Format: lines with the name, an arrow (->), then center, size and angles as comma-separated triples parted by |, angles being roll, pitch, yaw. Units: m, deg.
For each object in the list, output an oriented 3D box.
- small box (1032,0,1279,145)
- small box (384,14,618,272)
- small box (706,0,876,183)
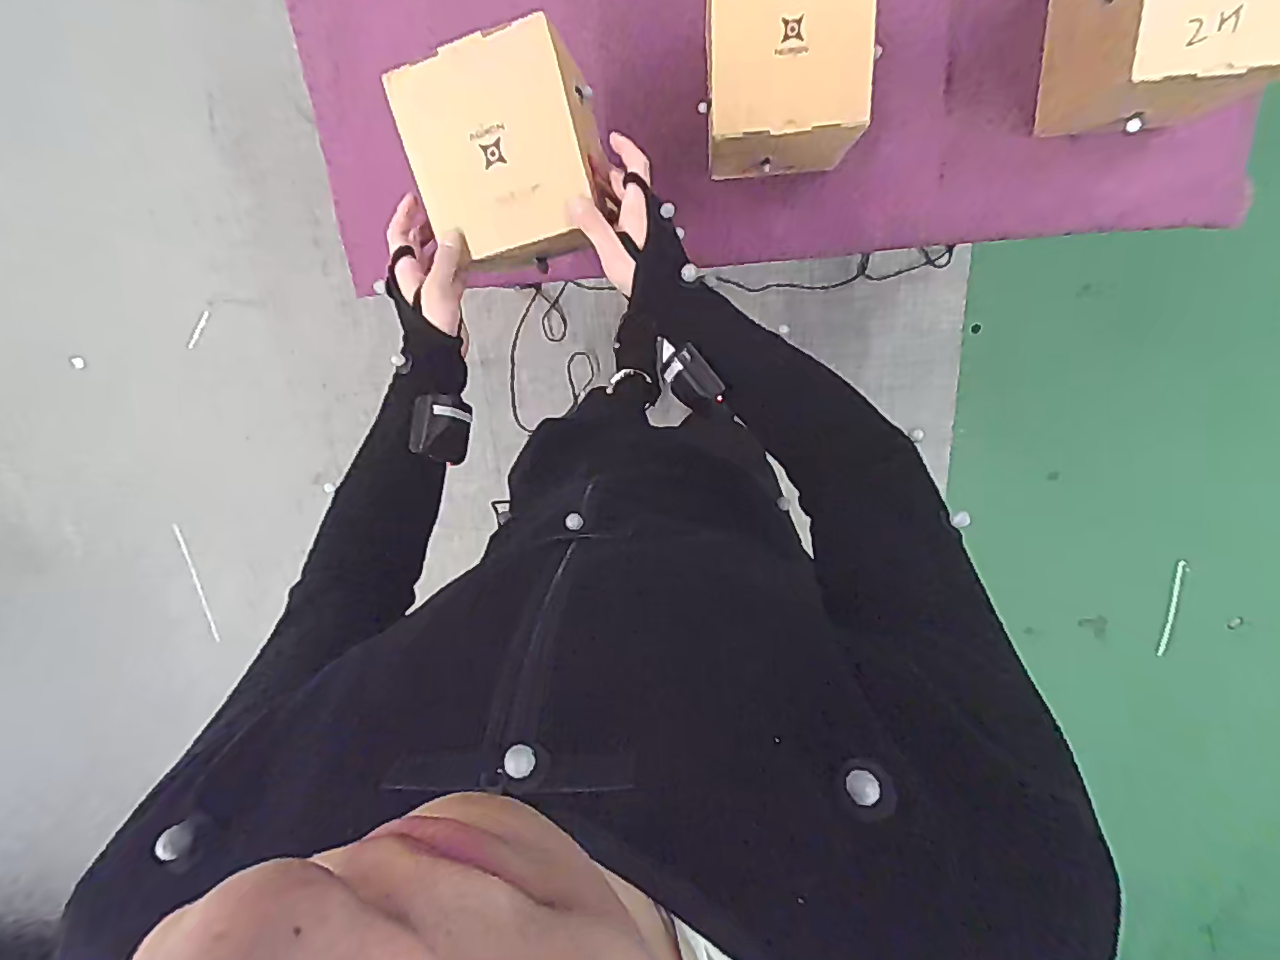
small box -> 0.564, -0.491, 0.583 | 0.168, 0.176, 0.179 | -1, 106, 7
small box -> -0.130, -0.336, 0.582 | 0.168, 0.176, 0.179 | -11, 107, 11
small box -> 0.163, -0.471, 0.634 | 0.168, 0.176, 0.179 | -1, 106, 6
